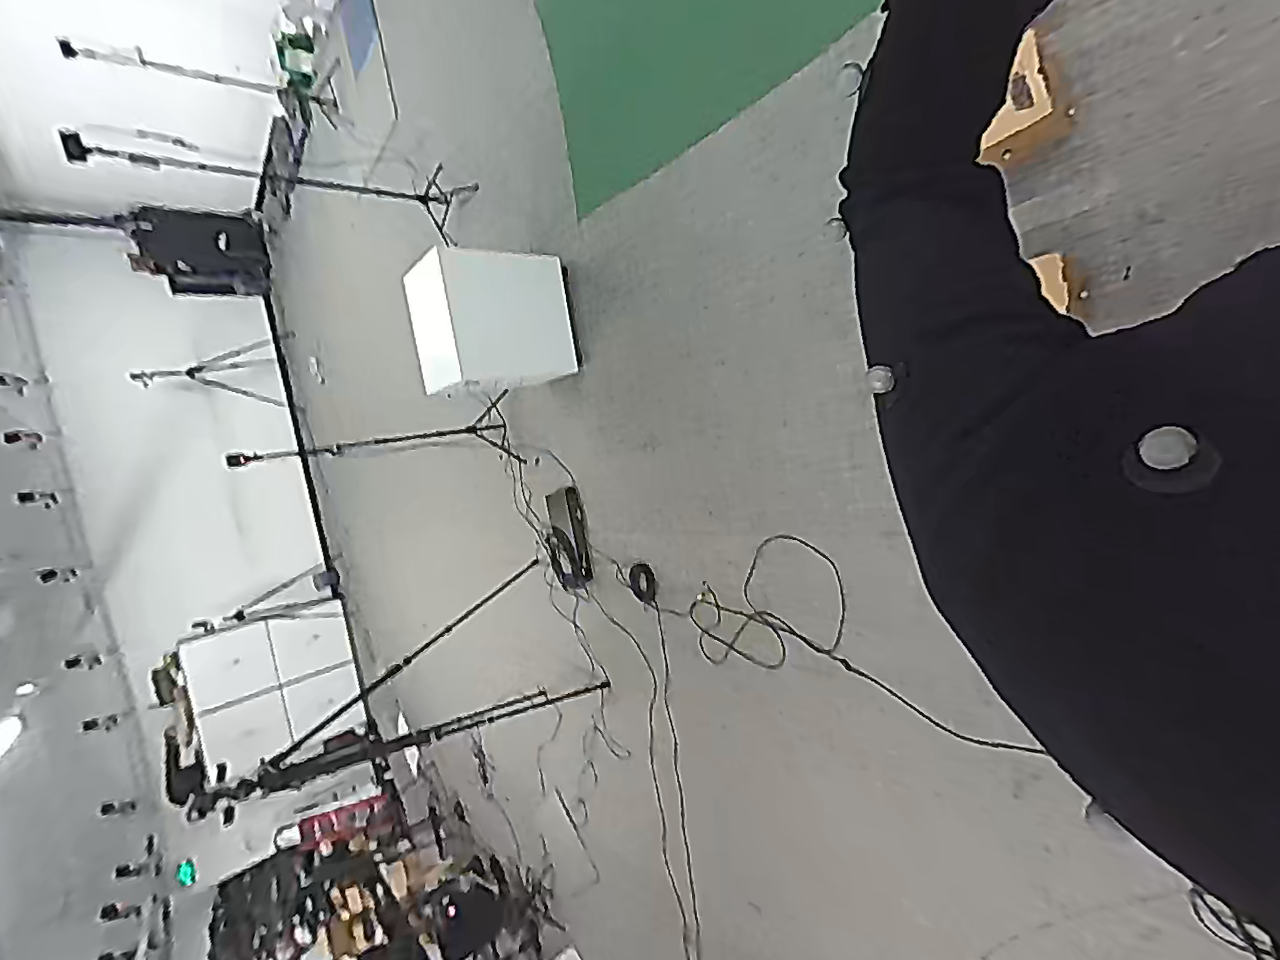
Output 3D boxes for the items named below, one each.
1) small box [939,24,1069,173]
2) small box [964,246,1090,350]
[{"bbox_3d":[0.757,-0.772,1.118,0.179,0.176,0.168,-13,90,50],"label":"small box"},{"bbox_3d":[0.821,-0.376,1.147,0.179,0.176,0.168,-5,97,49],"label":"small box"}]
